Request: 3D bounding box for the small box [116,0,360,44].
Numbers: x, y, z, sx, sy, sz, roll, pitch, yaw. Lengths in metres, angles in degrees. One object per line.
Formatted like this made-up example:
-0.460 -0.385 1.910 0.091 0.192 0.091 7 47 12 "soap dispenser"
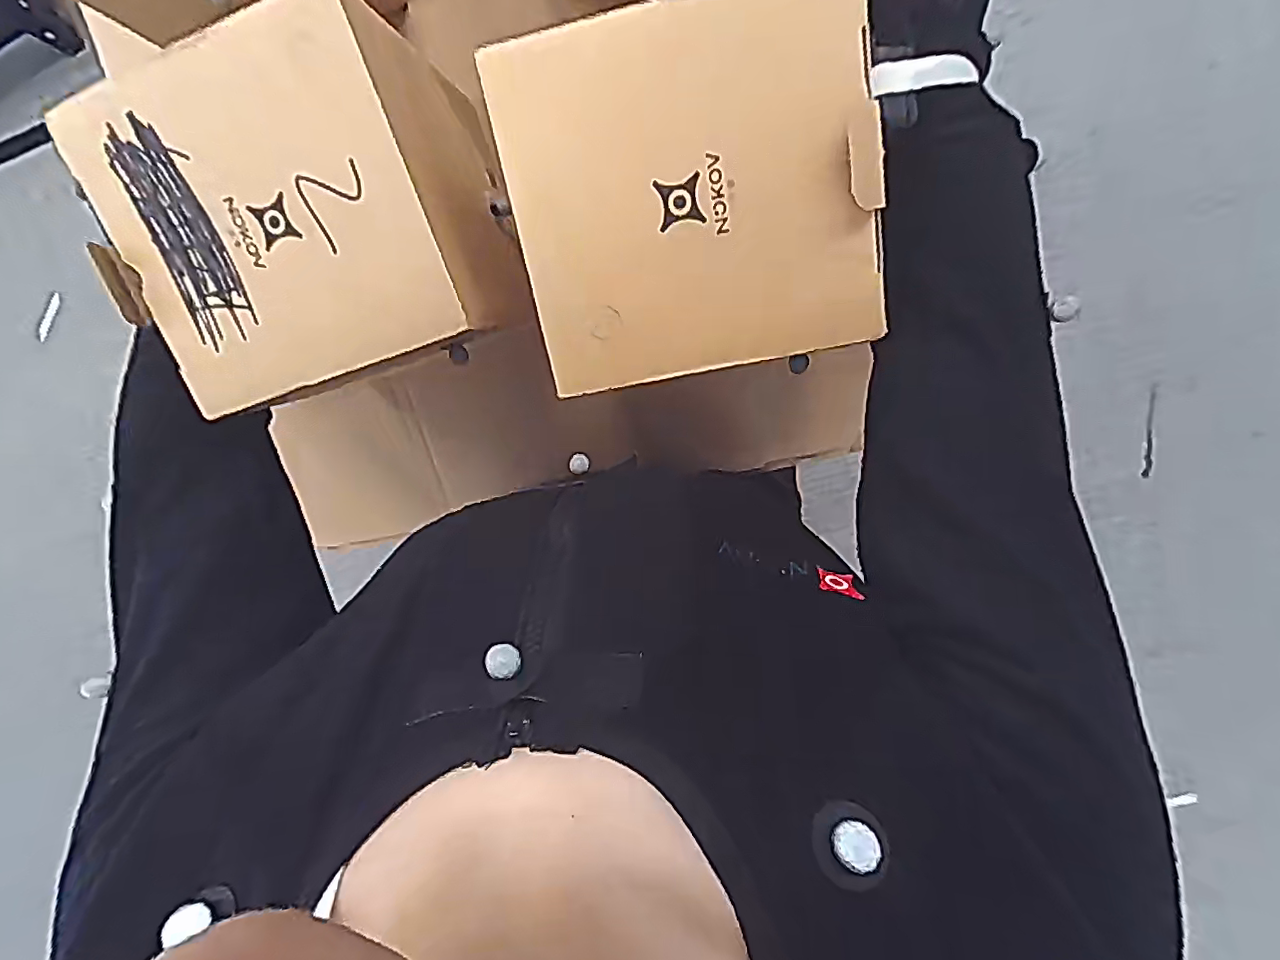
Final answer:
-0.279 -0.396 0.307 0.168 0.176 0.179 -12 101 9 "small box"
